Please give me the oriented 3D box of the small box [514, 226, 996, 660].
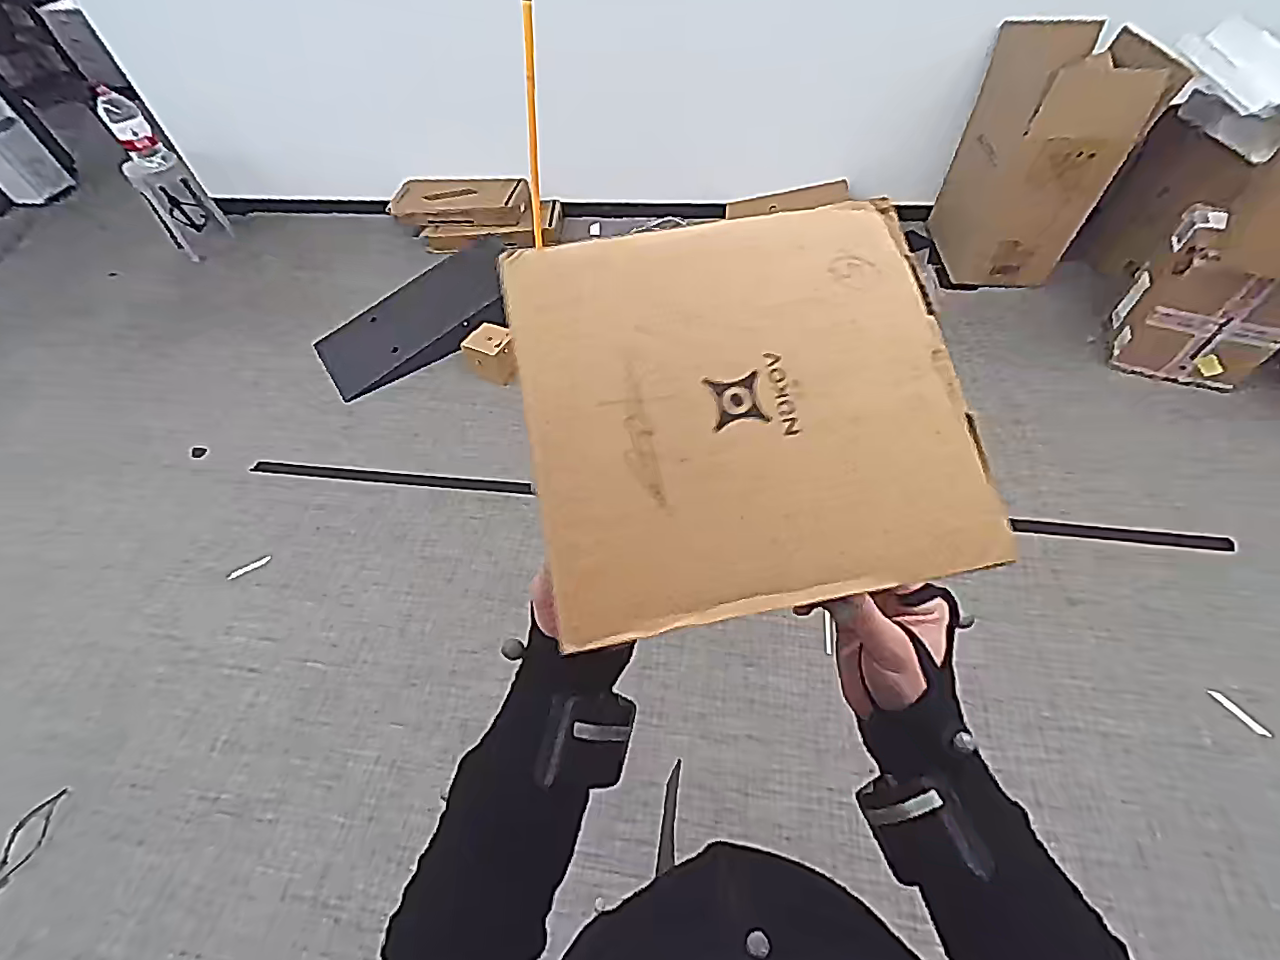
[{"bbox_3d":[0.042,-0.006,0.305,0.179,0.176,0.168,-11,76,-2],"label":"small box"}]
